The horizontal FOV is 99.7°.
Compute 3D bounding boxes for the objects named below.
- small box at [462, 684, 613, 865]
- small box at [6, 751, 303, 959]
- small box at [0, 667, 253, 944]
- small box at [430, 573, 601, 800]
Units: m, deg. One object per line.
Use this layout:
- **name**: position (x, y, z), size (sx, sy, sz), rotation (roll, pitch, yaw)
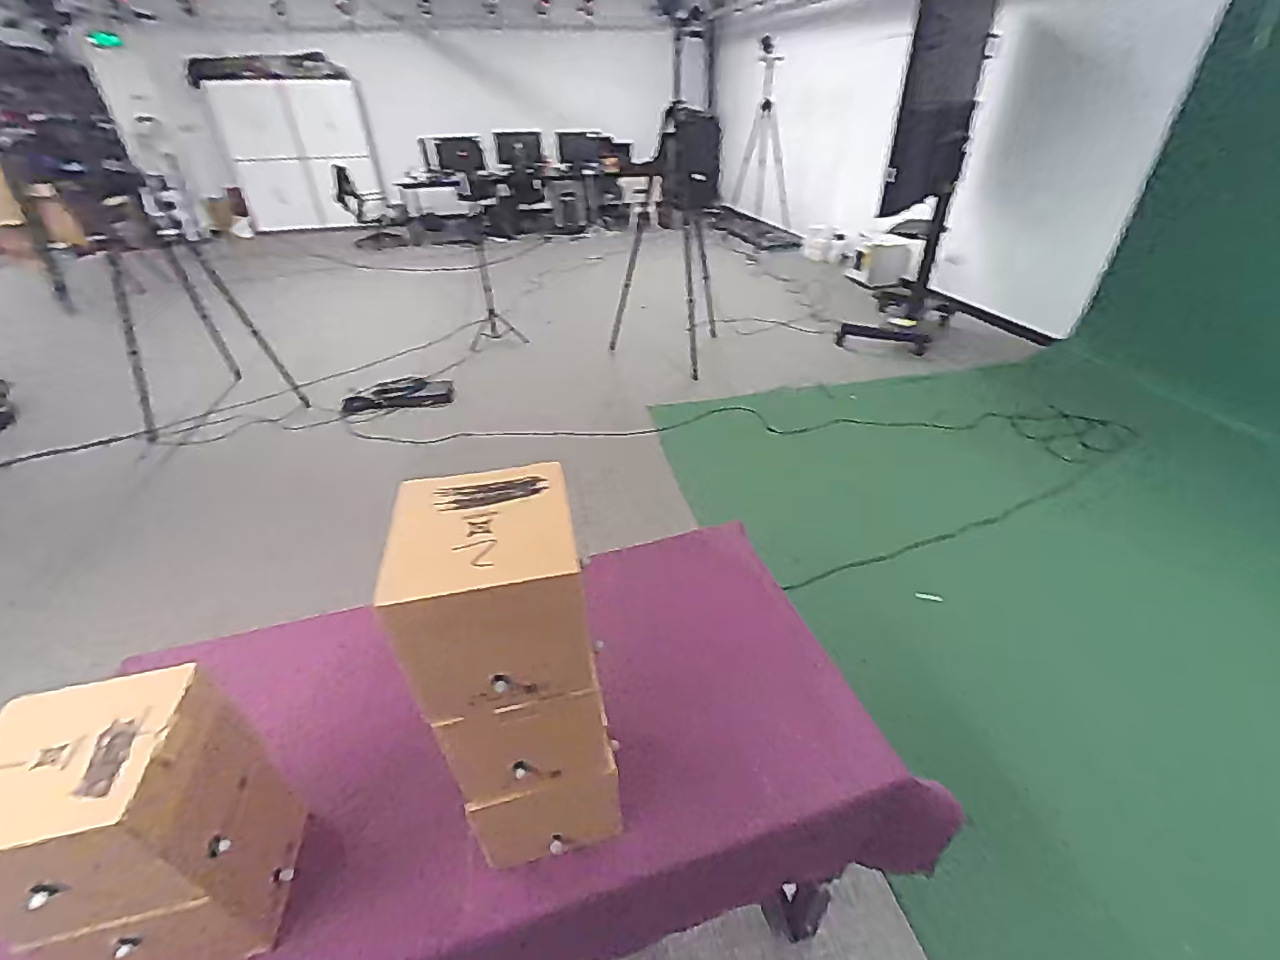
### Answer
- **small box**: position (-0.137, 0.382, 0.736), size (0.179, 0.176, 0.168), rotation (-9, 35, -12)
- **small box**: position (-0.539, 0.460, 0.638), size (0.179, 0.176, 0.168), rotation (-8, 36, -11)
- **small box**: position (-0.538, 0.323, 0.547), size (0.179, 0.176, 0.168), rotation (-9, 36, -11)
- **small box**: position (-0.144, 0.243, 0.651), size (0.168, 0.176, 0.179), rotation (-9, 37, -11)
